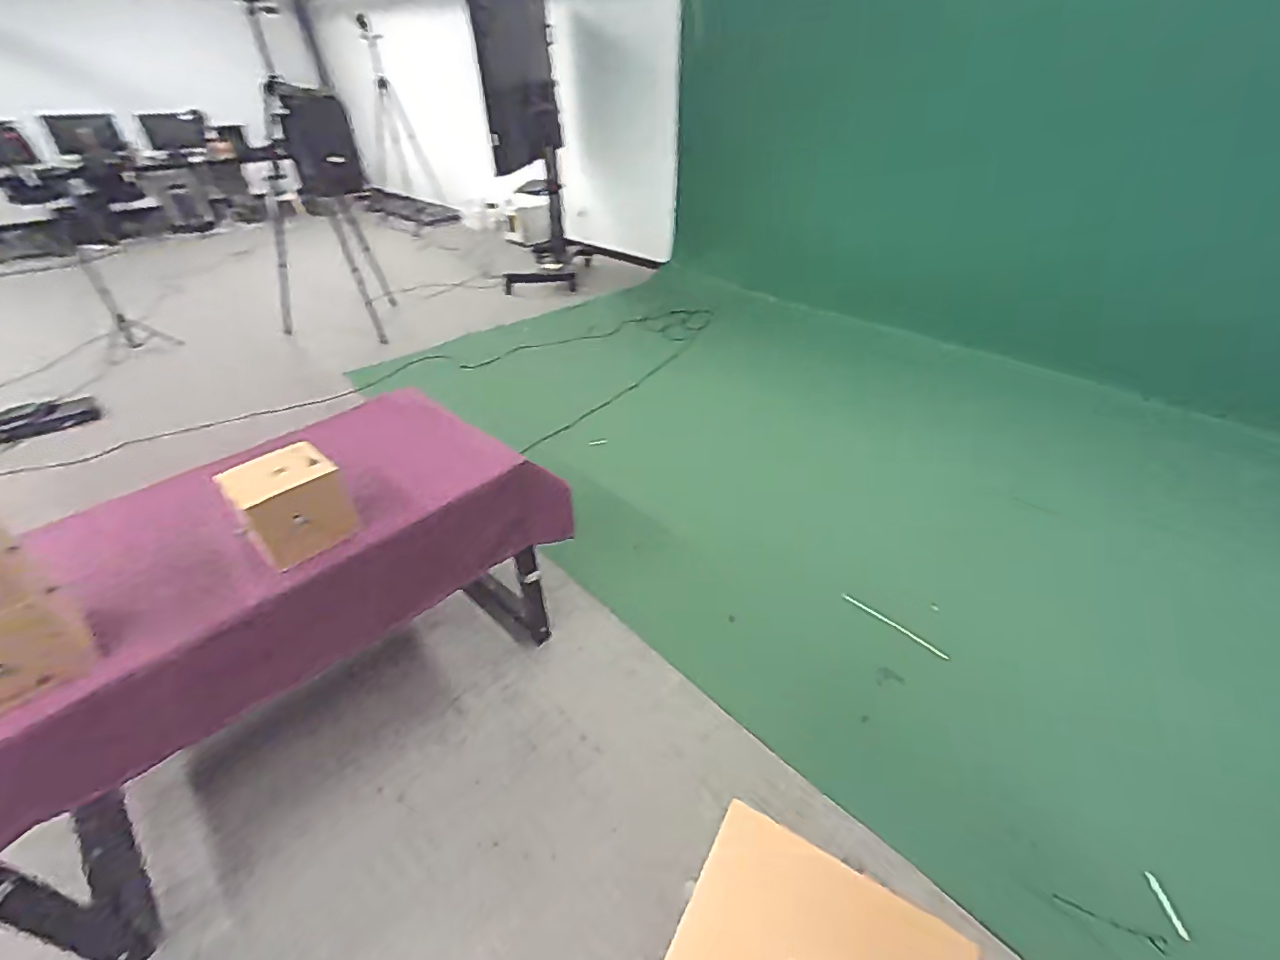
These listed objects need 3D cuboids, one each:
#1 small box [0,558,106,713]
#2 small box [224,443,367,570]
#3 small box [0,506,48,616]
[{"bbox_3d":[-1.024,0.251,0.877,0.179,0.176,0.168,28,45,34],"label":"small box"},{"bbox_3d":[-0.711,0.055,1.130,0.168,0.176,0.179,28,47,33],"label":"small box"},{"bbox_3d":[-1.027,0.119,0.778,0.168,0.176,0.179,29,45,34],"label":"small box"}]
